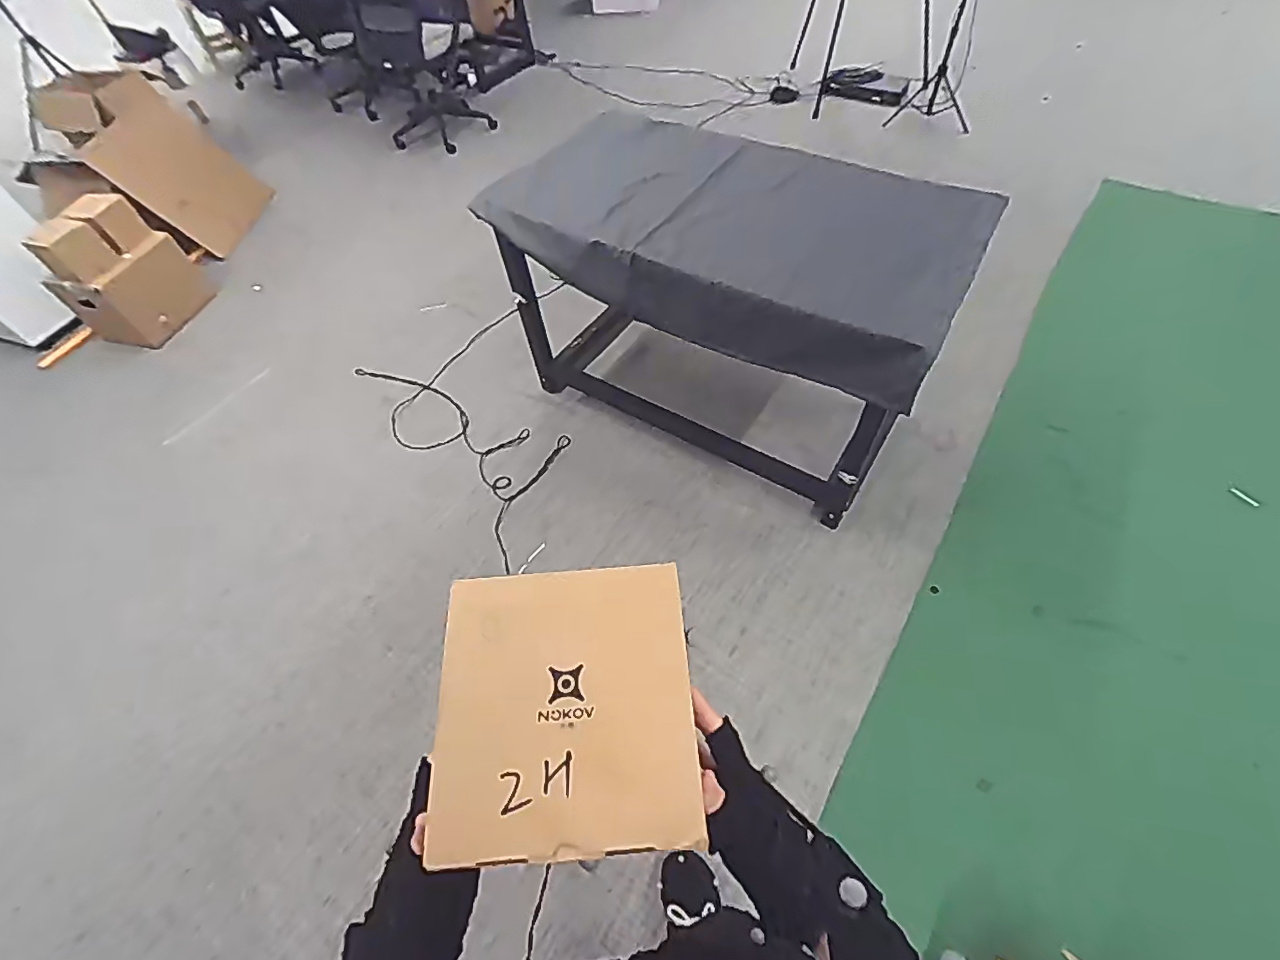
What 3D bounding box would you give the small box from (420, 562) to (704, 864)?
[{"bbox_3d":[-0.047,0.179,0.419,0.168,0.176,0.179,-5,60,0],"label":"small box"}]
